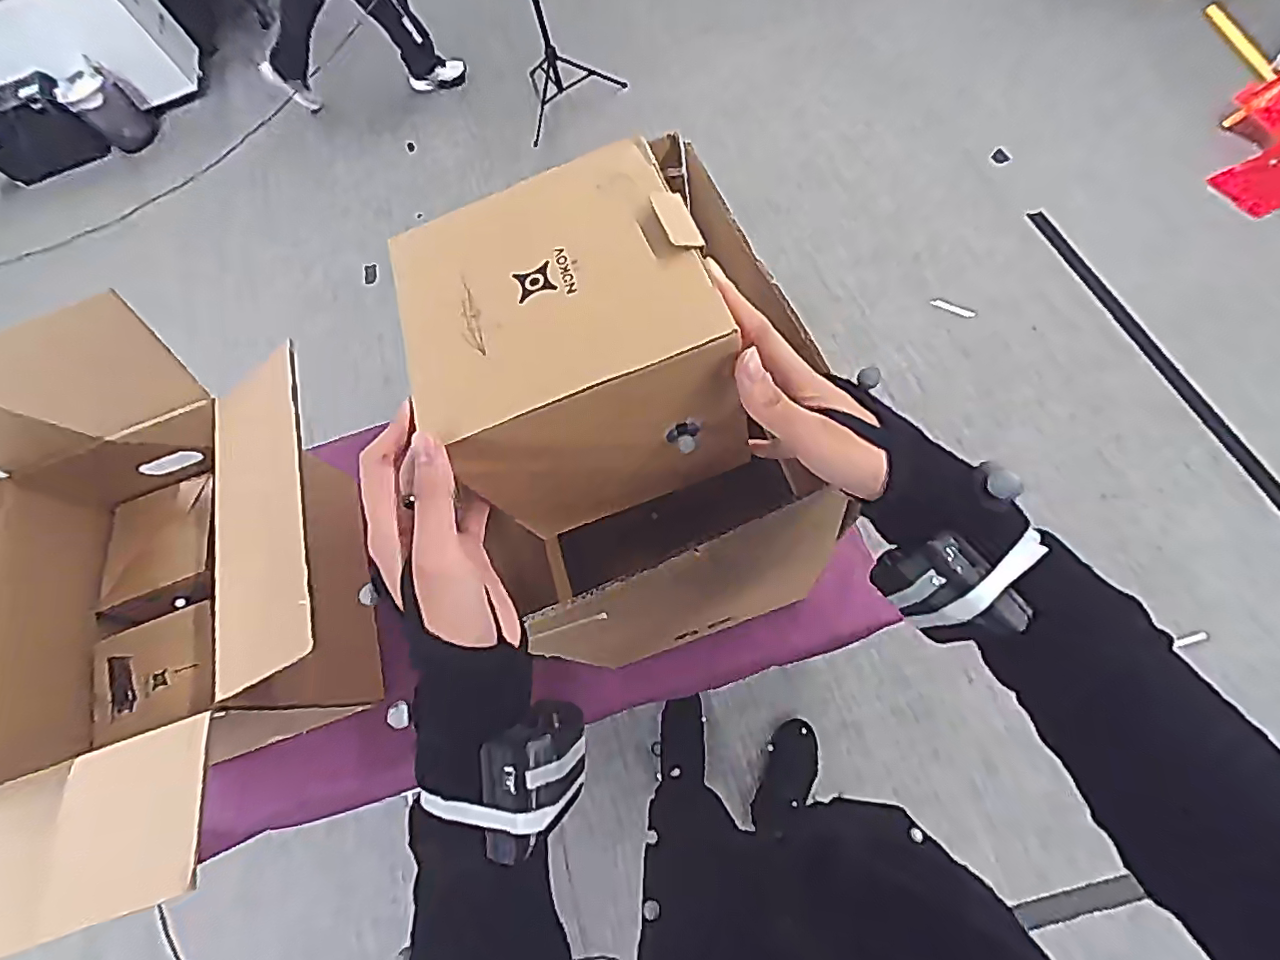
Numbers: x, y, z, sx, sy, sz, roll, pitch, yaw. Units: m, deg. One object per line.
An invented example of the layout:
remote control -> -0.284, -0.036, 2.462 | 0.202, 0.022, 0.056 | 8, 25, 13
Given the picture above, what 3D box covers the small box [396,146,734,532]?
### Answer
small box -> -0.040, -0.082, 0.386 | 0.179, 0.176, 0.168 | -21, 65, 5
